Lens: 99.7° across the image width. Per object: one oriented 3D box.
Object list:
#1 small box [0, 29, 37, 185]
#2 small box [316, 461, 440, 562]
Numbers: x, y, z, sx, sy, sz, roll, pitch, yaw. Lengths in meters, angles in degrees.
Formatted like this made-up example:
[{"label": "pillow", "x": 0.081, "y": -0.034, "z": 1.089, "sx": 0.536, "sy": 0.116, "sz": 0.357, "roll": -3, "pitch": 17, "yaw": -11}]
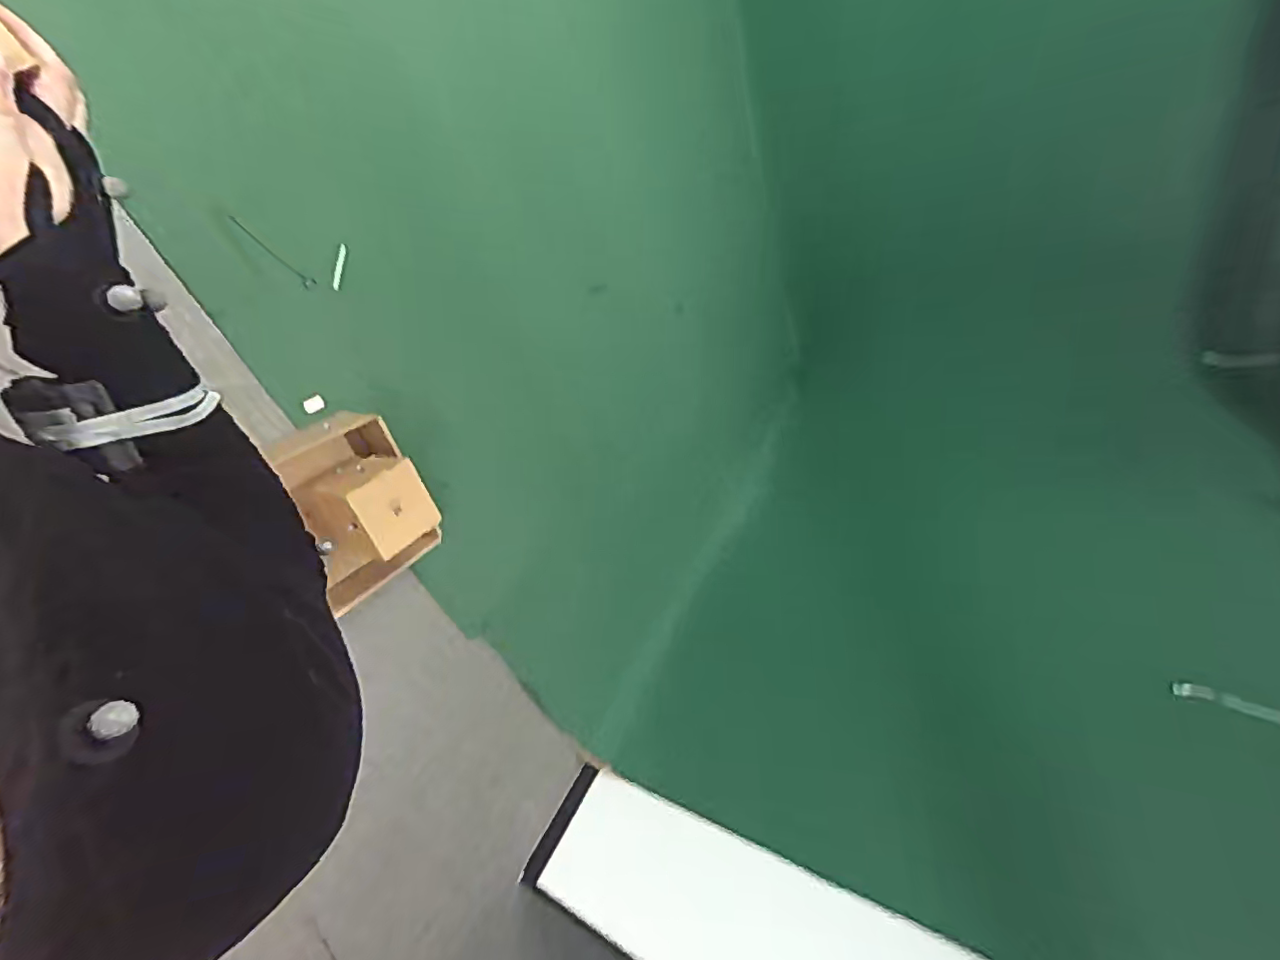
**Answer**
[{"label": "small box", "x": -0.455, "y": -0.224, "z": 0.256, "sx": 0.179, "sy": 0.176, "sz": 0.168, "roll": -50, "pitch": 127, "yaw": -28}, {"label": "small box", "x": -0.618, "y": 0.066, "z": 1.277, "sx": 0.168, "sy": 0.176, "sz": 0.179, "roll": -44, "pitch": 125, "yaw": -41}]
